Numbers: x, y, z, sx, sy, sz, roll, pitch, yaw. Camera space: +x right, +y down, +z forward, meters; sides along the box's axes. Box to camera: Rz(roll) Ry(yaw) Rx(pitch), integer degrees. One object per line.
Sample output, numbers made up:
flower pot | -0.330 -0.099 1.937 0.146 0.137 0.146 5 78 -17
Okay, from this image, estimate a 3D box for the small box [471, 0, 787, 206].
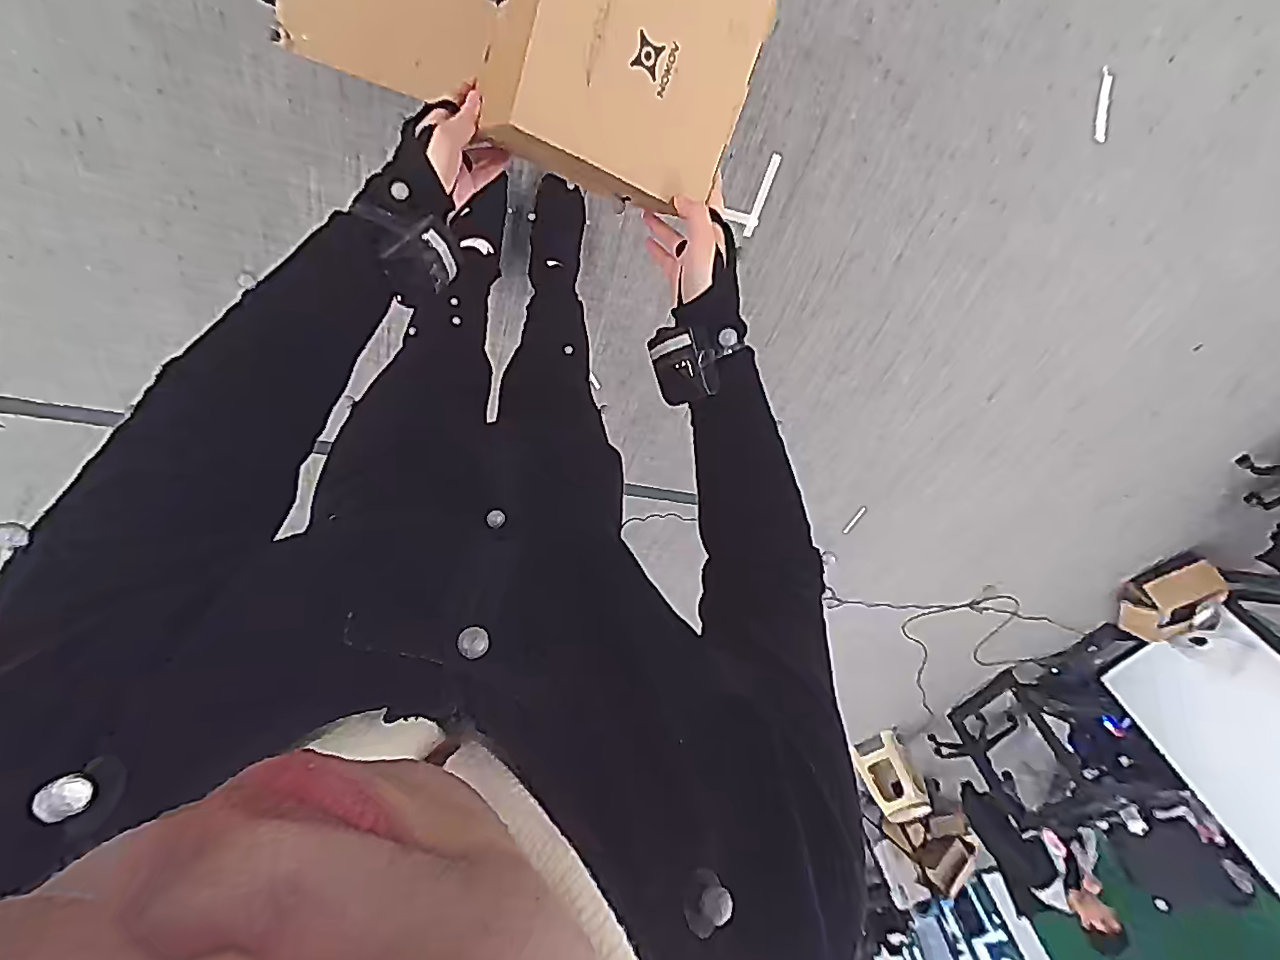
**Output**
small box | -0.020 -0.351 0.445 0.179 0.176 0.168 9 112 -33
